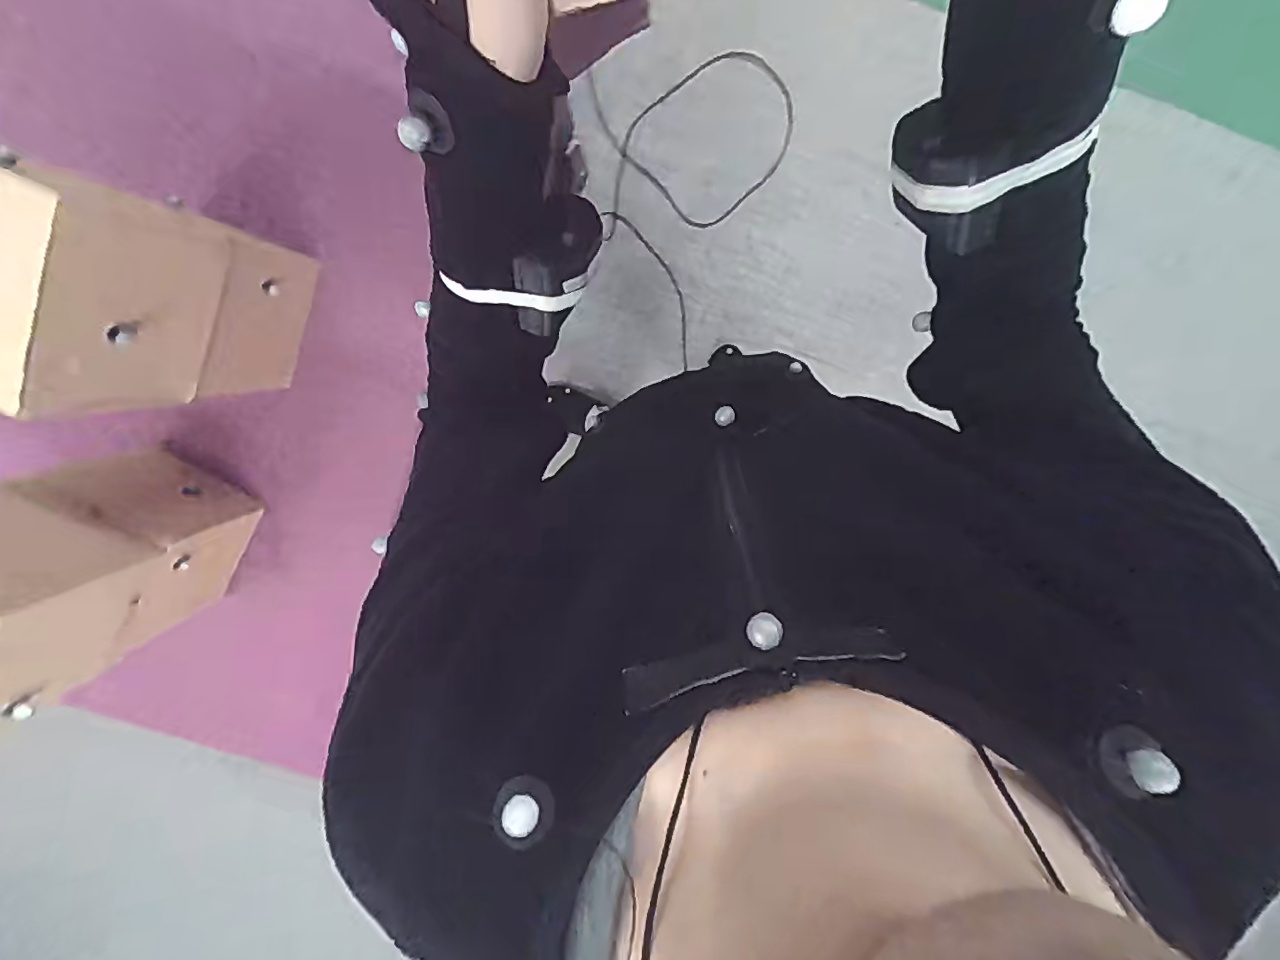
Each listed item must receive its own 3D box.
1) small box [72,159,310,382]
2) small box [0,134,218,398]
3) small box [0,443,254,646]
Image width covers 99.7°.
[{"bbox_3d":[-0.528,-0.229,0.636,0.168,0.176,0.179,21,102,-3],"label":"small box"},{"bbox_3d":[-0.524,-0.189,0.476,0.168,0.176,0.179,23,102,-4],"label":"small box"},{"bbox_3d":[-0.655,0.072,0.702,0.168,0.176,0.179,30,100,-6],"label":"small box"}]
